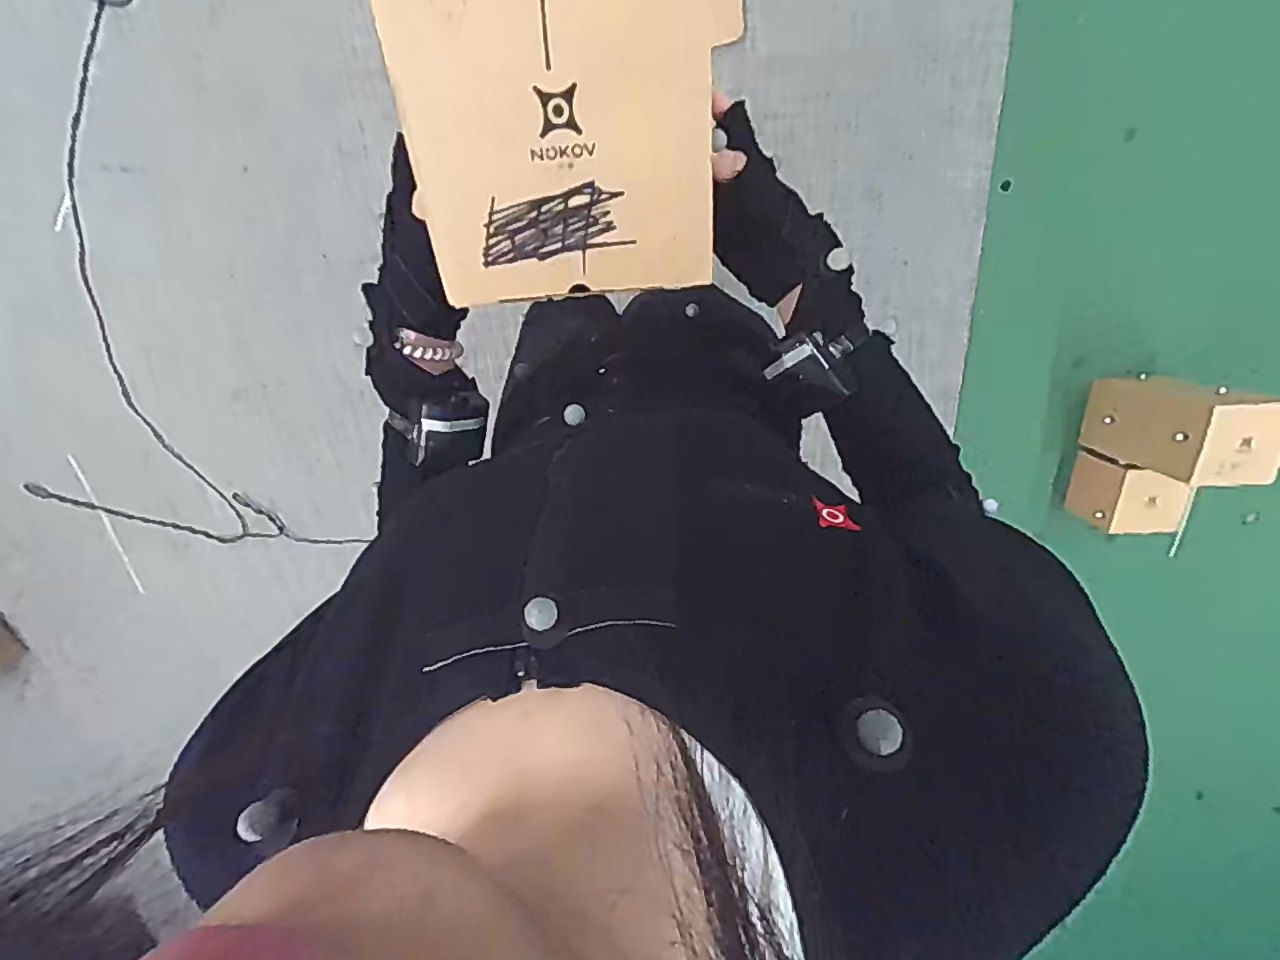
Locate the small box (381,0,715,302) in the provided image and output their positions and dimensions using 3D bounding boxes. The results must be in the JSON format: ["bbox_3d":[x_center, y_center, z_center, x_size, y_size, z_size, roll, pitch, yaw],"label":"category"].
[{"bbox_3d":[-0.043,-0.233,0.359,0.168,0.176,0.179,-5,122,1],"label":"small box"}]

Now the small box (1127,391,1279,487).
[{"bbox_3d":[1.224,-0.096,1.178,0.168,0.176,0.179,-1,111,4],"label":"small box"}]
